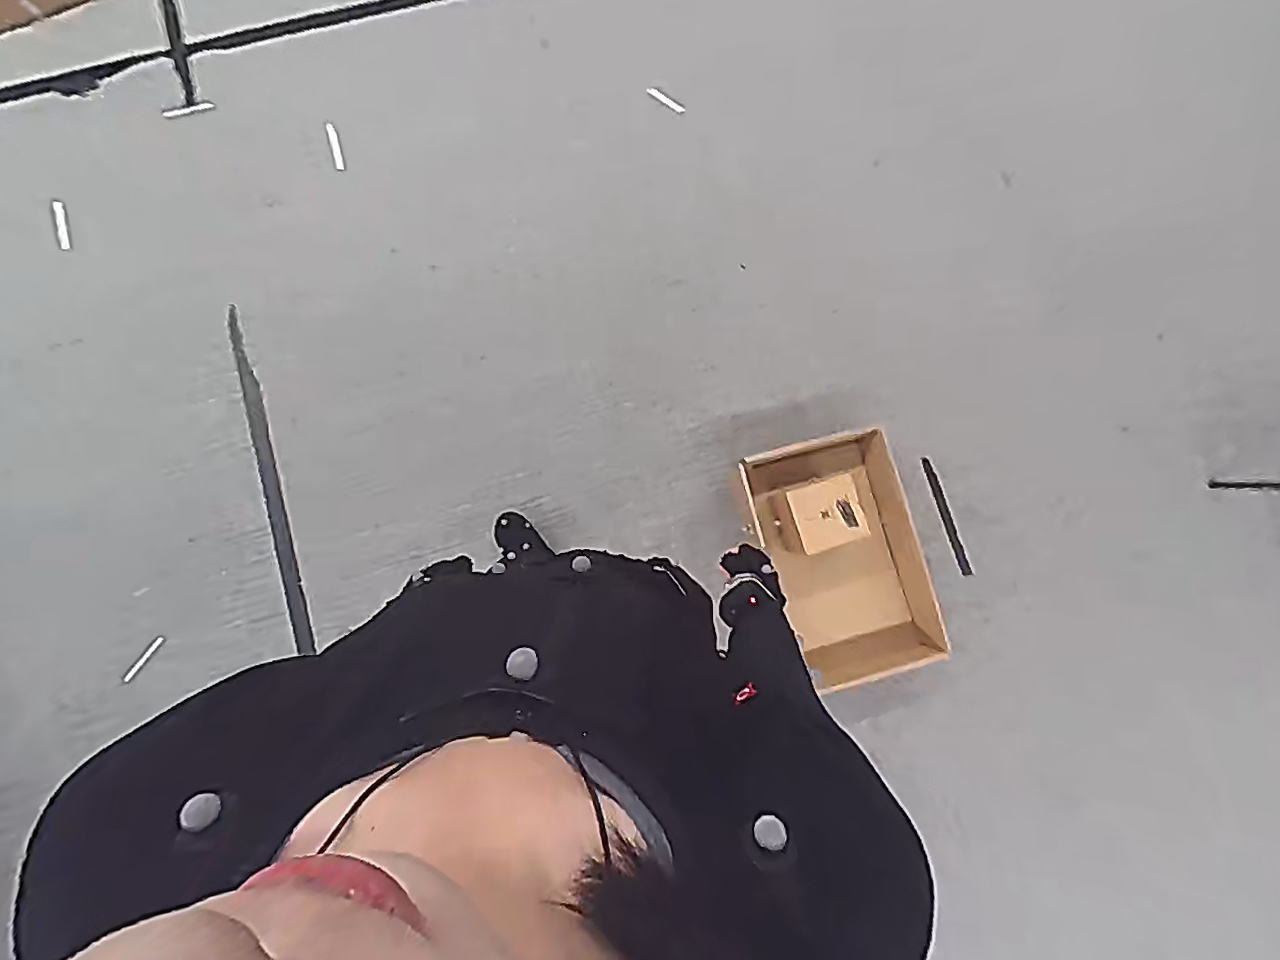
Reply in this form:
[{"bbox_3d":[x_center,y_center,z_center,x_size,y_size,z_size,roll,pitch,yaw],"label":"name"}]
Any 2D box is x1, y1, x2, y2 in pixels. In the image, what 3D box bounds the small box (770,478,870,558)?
[{"bbox_3d":[0.468,0.100,1.430,0.179,0.176,0.168,-17,85,-4],"label":"small box"}]
